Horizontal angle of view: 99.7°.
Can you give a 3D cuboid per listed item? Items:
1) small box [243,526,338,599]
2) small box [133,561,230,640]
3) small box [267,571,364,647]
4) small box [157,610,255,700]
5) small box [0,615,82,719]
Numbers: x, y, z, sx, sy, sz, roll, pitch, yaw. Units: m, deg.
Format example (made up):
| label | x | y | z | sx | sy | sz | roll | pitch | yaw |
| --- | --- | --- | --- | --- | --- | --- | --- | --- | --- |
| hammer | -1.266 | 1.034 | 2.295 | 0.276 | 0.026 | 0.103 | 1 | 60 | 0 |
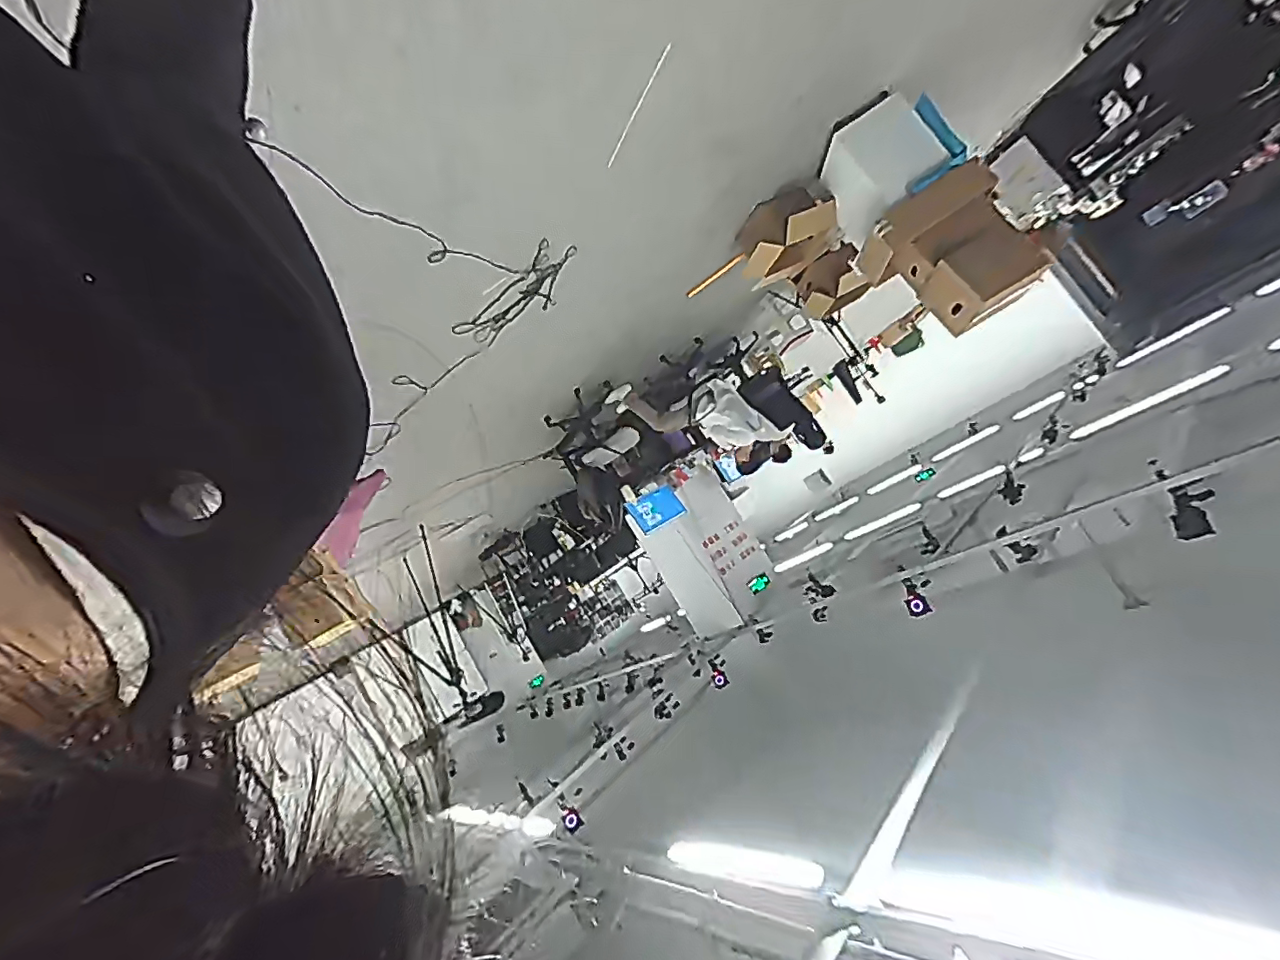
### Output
| label | x | y | z | sx | sy | sz | roll | pitch | yaw |
| --- | --- | --- | --- | --- | --- | --- | --- | --- | --- |
| small box | -1.116 | 0.265 | 1.733 | 0.179 | 0.176 | 0.168 | -30 | 173 | -17 |
| small box | -1.304 | 0.354 | 1.544 | 0.168 | 0.176 | 0.179 | -27 | 172 | -43 |
| small box | -1.020 | 0.397 | 1.703 | 0.179 | 0.176 | 0.168 | -30 | 173 | -5 |
| small box | -1.210 | 0.484 | 1.513 | 0.168 | 0.176 | 0.179 | -28 | 173 | -42 |
| small box | -1.506 | 0.450 | 1.310 | 0.168 | 0.176 | 0.179 | -24 | 169 | -47 |
